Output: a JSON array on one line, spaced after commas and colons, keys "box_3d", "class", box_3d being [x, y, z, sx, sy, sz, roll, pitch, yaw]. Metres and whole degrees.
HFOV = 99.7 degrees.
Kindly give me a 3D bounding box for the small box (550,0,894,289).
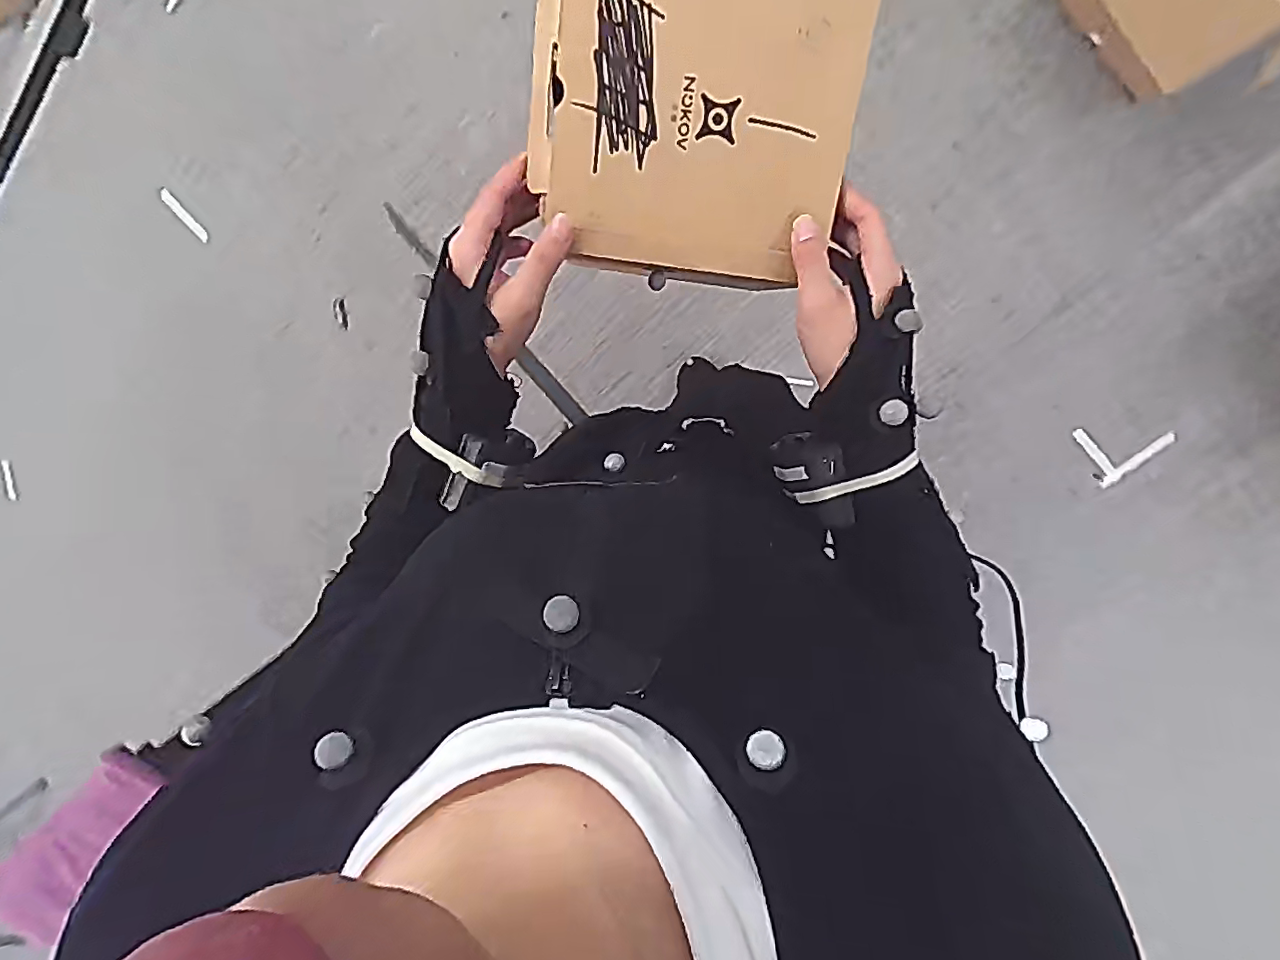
[{"box_3d": [0.040, -0.234, 0.386, 0.179, 0.176, 0.168, 8, 109, -5], "class": "small box"}]
